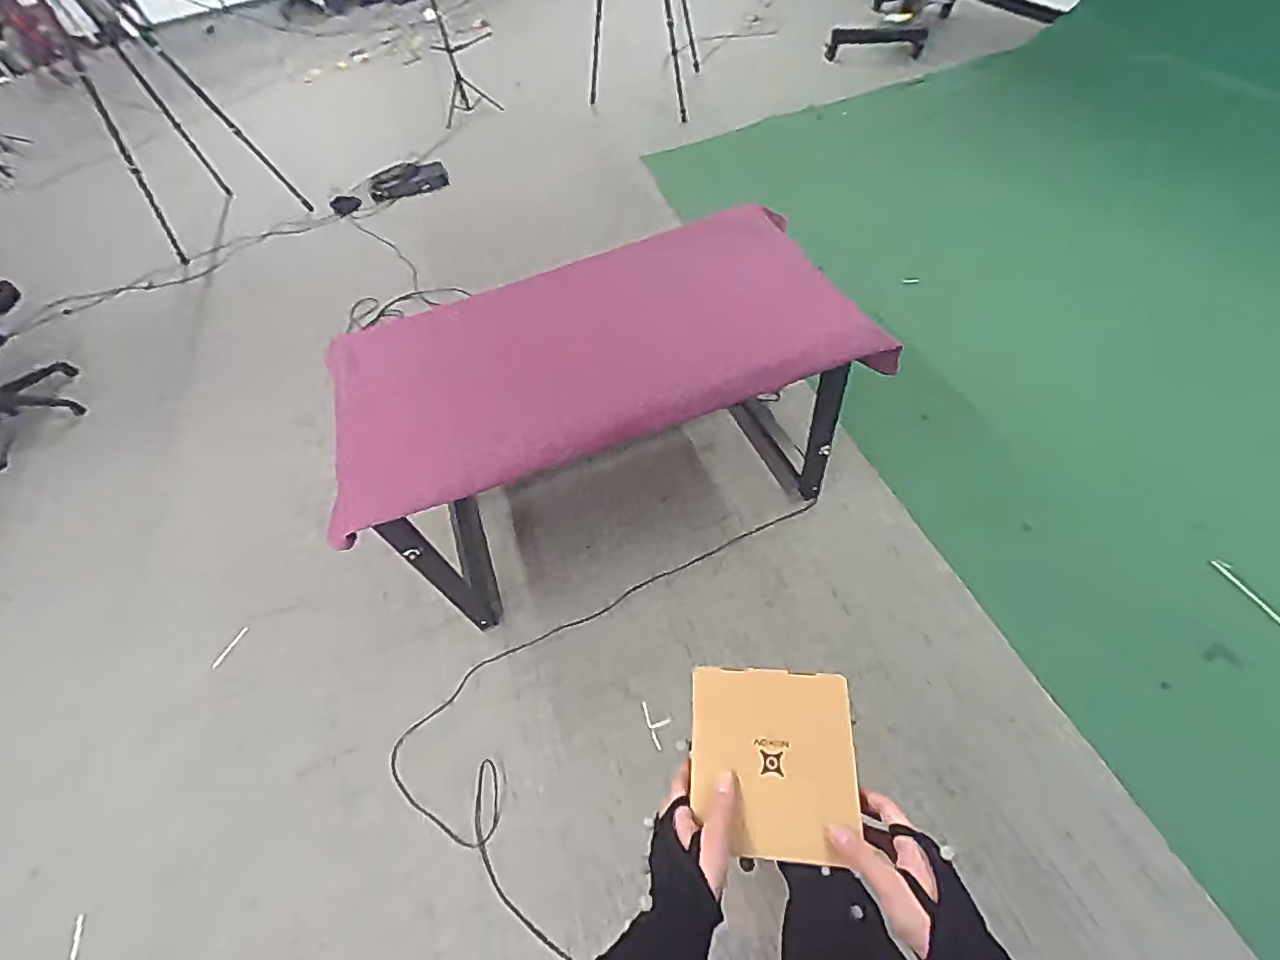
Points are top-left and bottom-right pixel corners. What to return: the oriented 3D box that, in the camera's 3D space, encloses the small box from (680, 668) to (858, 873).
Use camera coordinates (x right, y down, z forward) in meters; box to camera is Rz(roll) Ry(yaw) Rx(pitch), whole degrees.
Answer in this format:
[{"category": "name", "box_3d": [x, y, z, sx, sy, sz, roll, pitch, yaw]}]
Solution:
[{"category": "small box", "box_3d": [0.136, 0.326, 0.613, 0.168, 0.176, 0.179, 0, 57, 8]}]
